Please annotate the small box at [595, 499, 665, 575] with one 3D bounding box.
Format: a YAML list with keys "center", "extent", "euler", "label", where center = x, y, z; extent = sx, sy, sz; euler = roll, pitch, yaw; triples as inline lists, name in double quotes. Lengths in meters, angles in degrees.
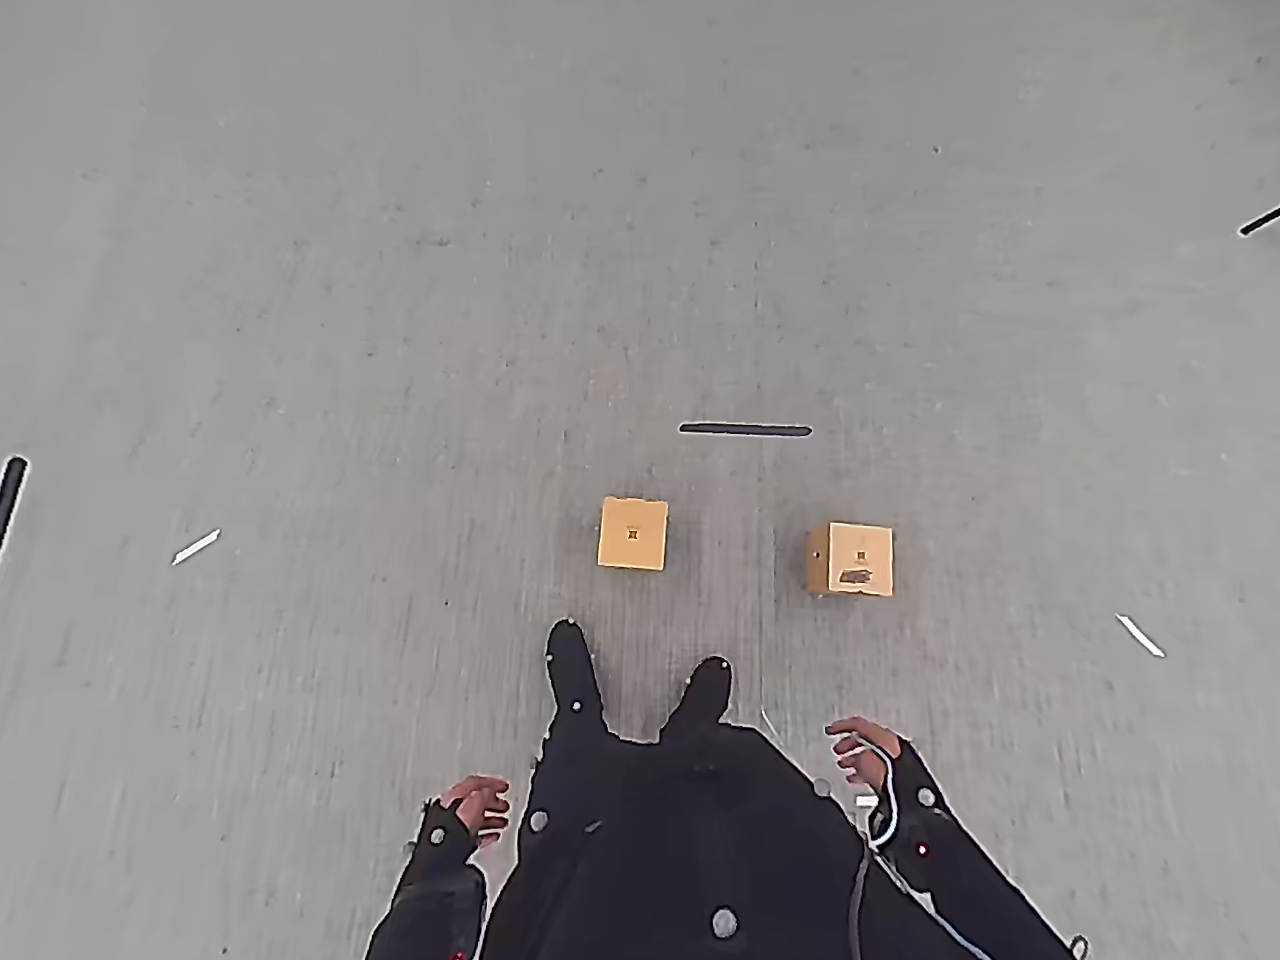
- center: [-0.025, 0.156, 1.427]
  extent: [0.168, 0.176, 0.179]
  euler: [4, 76, -1]
  label: "small box"

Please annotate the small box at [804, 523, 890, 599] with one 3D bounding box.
- center: [0.545, 0.221, 1.438]
  extent: [0.168, 0.176, 0.179]
  euler: [6, 76, -2]
  label: "small box"
